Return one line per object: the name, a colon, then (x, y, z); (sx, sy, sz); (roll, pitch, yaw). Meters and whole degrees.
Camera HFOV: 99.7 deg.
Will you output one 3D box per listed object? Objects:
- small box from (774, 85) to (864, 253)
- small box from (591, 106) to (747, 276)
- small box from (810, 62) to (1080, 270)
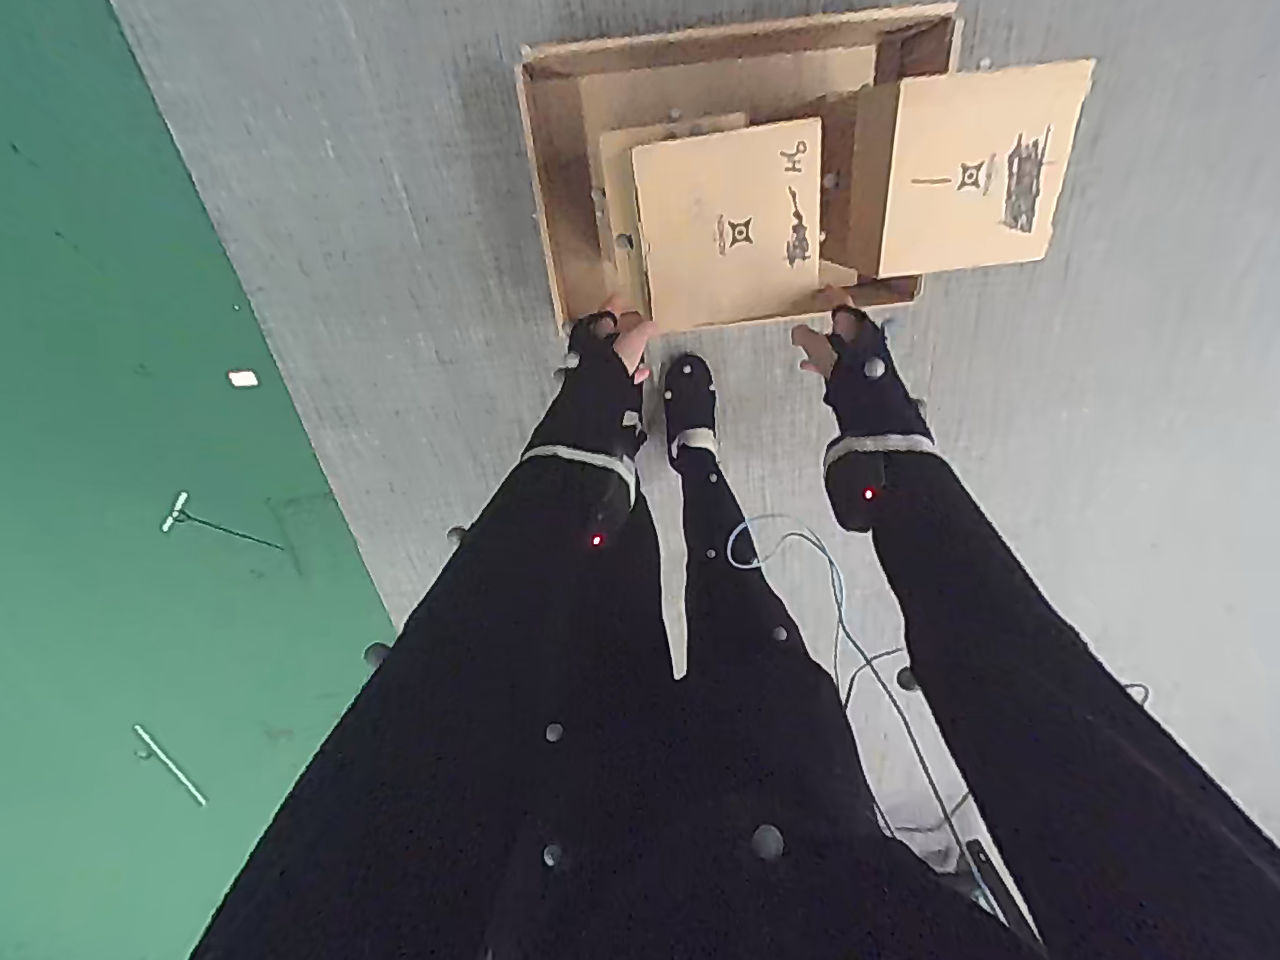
small box: (0.284, -0.413, 0.722); (0.168, 0.176, 0.179); (-7, 119, -2)
small box: (0.033, -0.378, 0.719); (0.179, 0.176, 0.168); (-10, 119, -2)
small box: (0.302, -0.331, 0.581); (0.179, 0.176, 0.168); (-5, 119, -1)
